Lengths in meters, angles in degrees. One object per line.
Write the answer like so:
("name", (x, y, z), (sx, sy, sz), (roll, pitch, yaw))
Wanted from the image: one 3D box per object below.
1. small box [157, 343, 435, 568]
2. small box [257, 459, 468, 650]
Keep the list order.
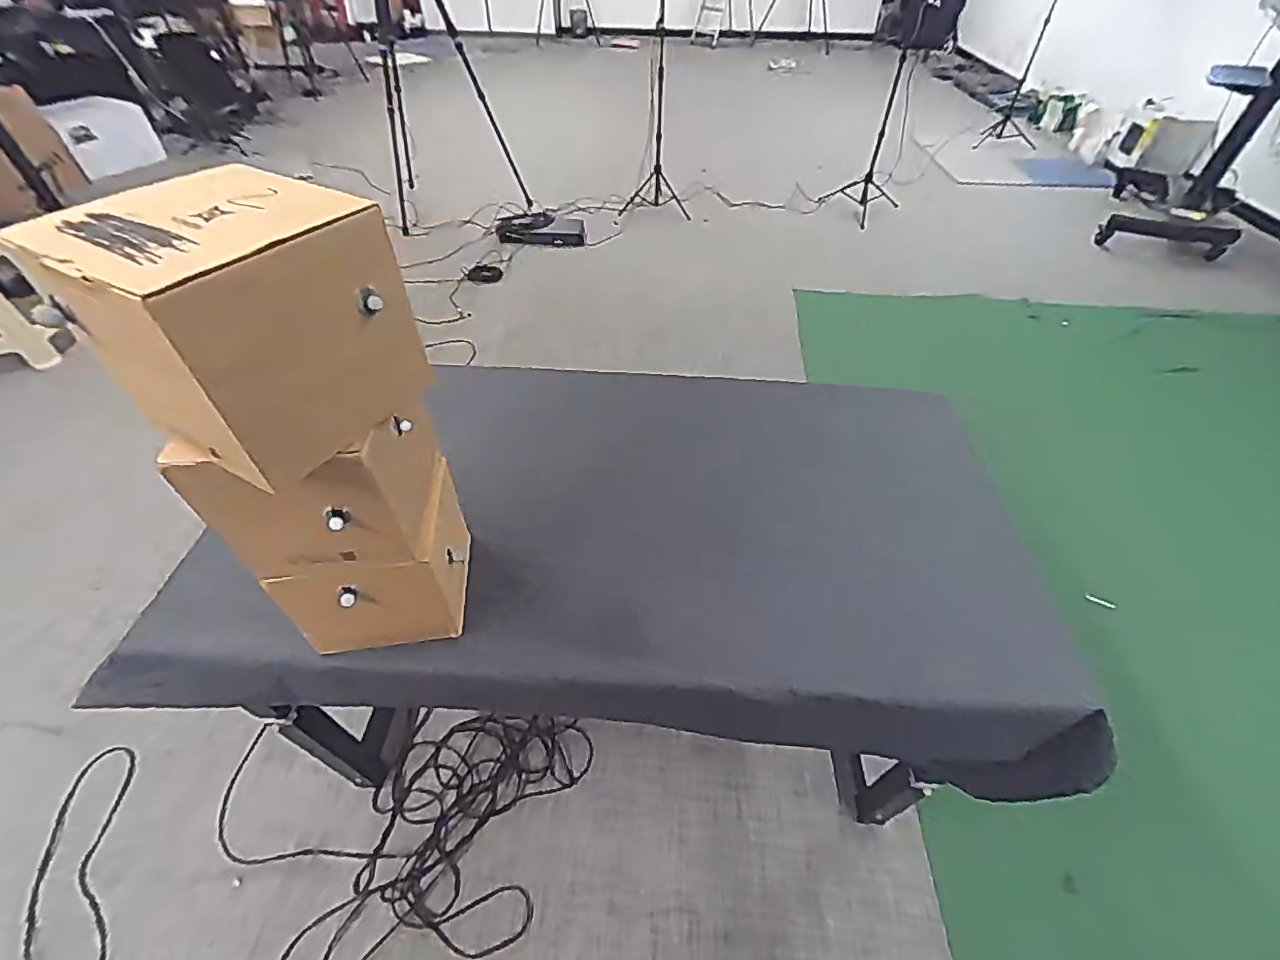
("small box", (-0.326, -0.021, 0.564), (0.168, 0.176, 0.179), (-3, 45, -5))
("small box", (-0.323, 0.094, 0.678), (0.179, 0.176, 0.168), (-5, 46, -6))
